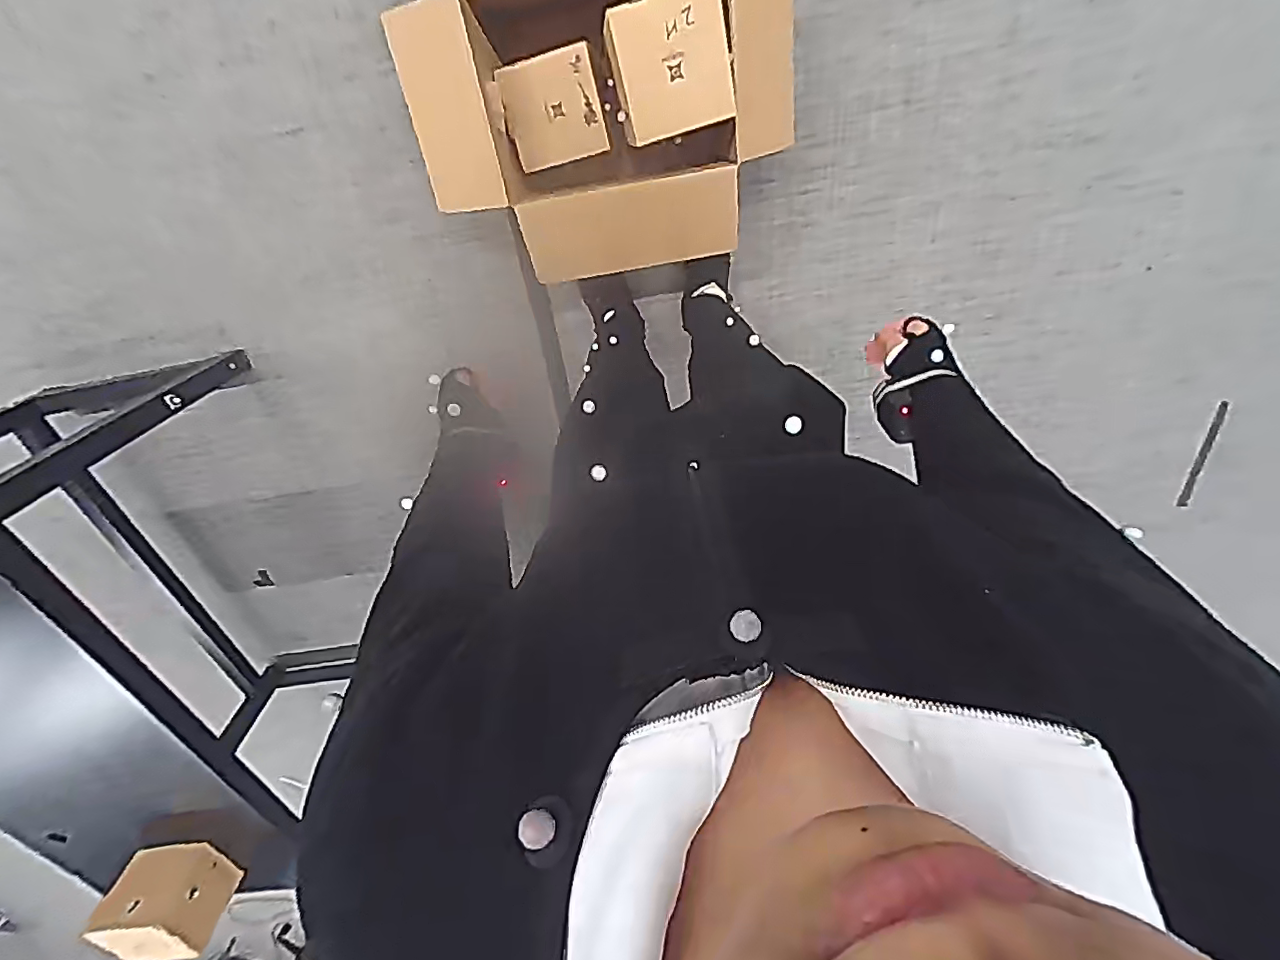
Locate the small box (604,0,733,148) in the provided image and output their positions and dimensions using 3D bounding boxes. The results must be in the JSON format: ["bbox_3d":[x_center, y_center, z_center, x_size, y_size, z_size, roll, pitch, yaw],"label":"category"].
[{"bbox_3d":[0.042,-0.663,0.878,0.168,0.176,0.179,-15,122,4],"label":"small box"}]

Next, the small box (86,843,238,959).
[{"bbox_3d":[-1.087,0.970,1.254,0.179,0.176,0.168,-8,121,5],"label":"small box"}]
